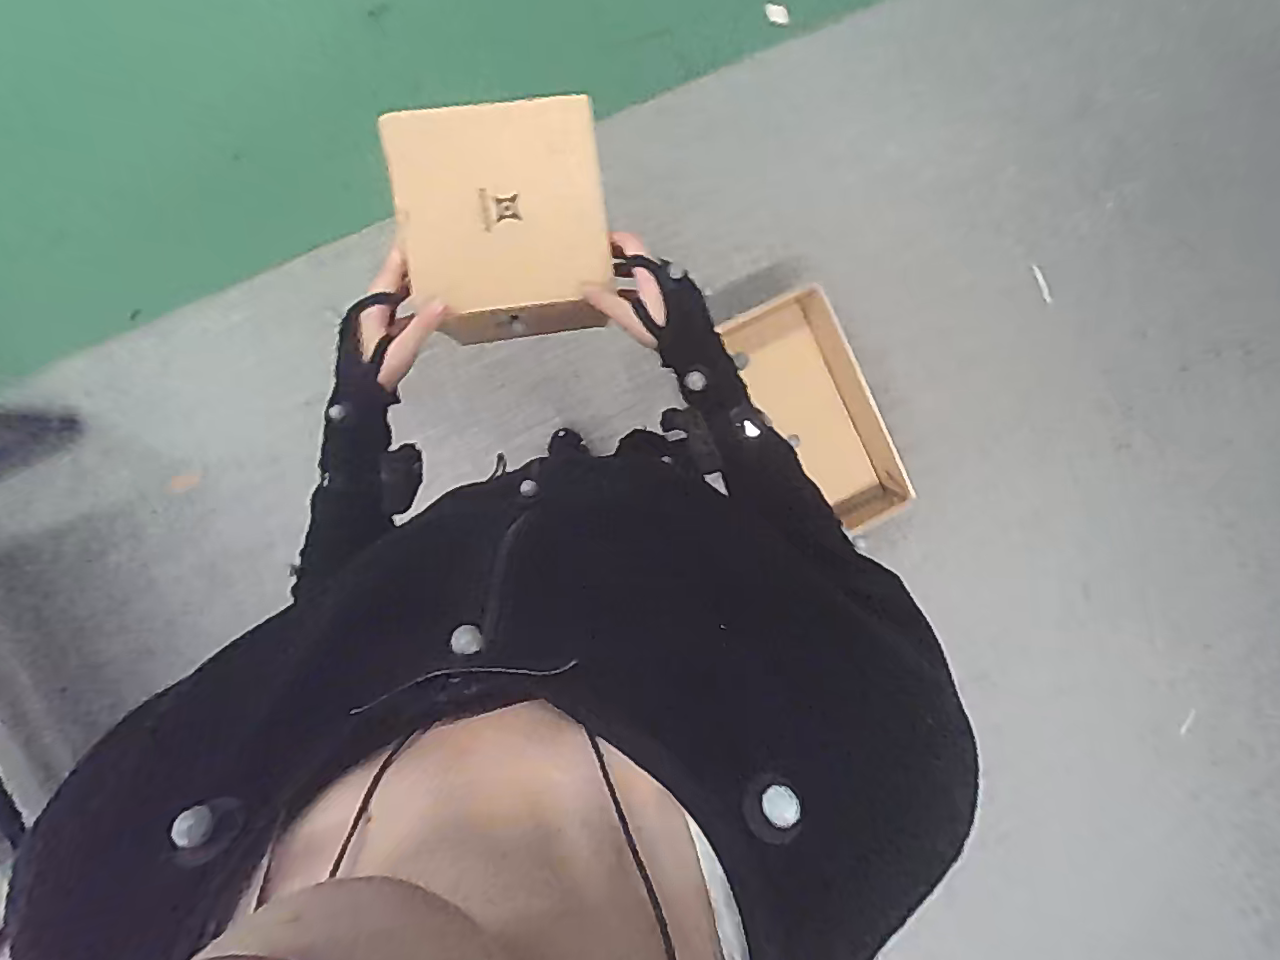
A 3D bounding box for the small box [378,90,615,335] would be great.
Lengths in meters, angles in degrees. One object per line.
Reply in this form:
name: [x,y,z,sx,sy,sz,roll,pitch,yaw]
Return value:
small box: [-0.126,-0.246,0.537,0.179,0.176,0.168,-9,98,-3]
